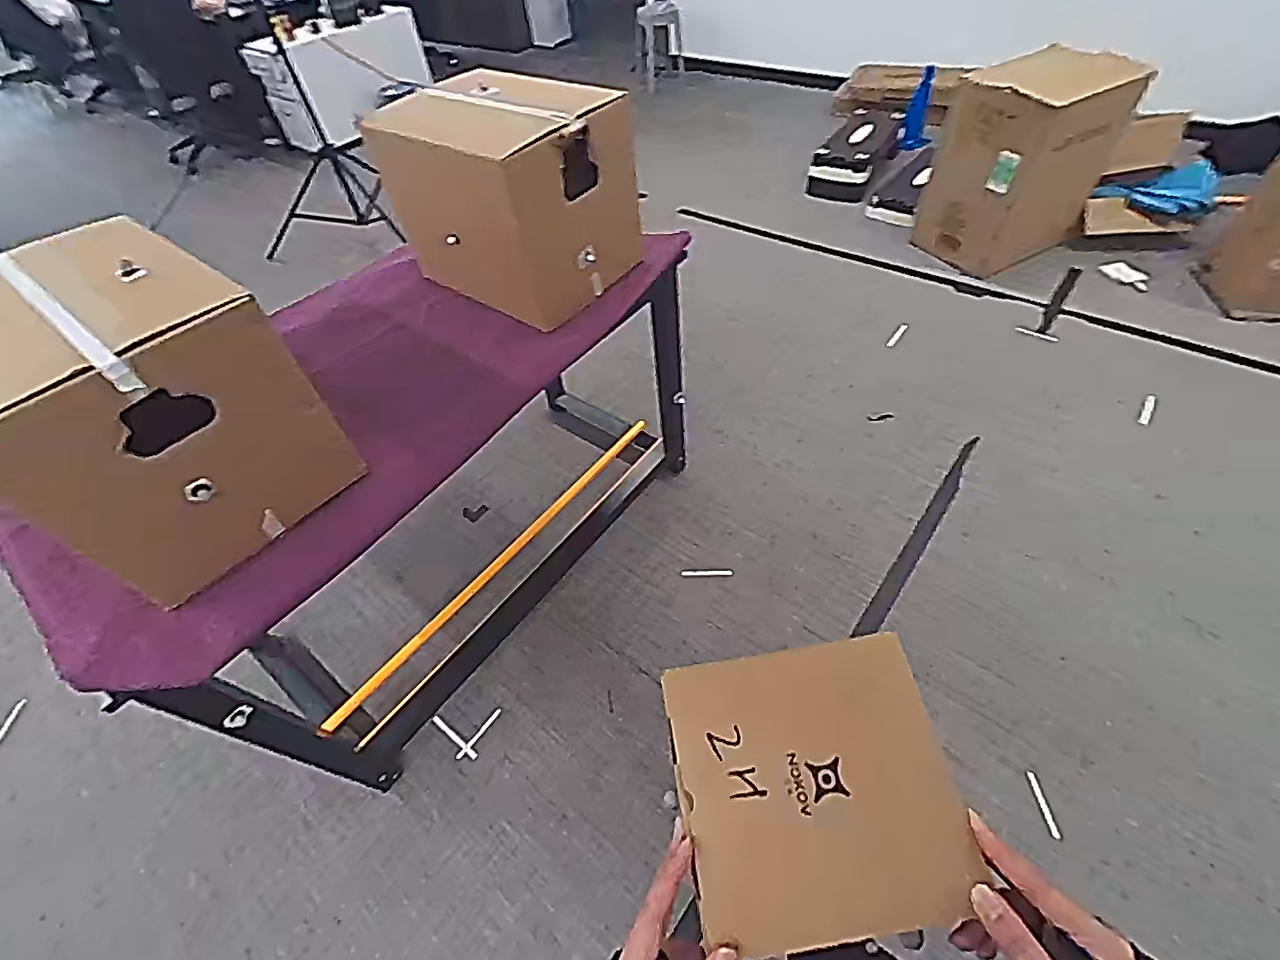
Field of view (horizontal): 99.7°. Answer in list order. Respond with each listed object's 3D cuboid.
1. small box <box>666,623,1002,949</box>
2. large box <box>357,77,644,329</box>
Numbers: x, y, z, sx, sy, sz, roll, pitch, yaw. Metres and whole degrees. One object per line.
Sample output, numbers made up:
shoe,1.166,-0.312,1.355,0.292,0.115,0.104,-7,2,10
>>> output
small box,0.119,0.223,0.418,0.179,0.176,0.168,-10,60,0
large box,-0.249,-0.554,1.072,0.408,0.320,0.320,28,59,27
